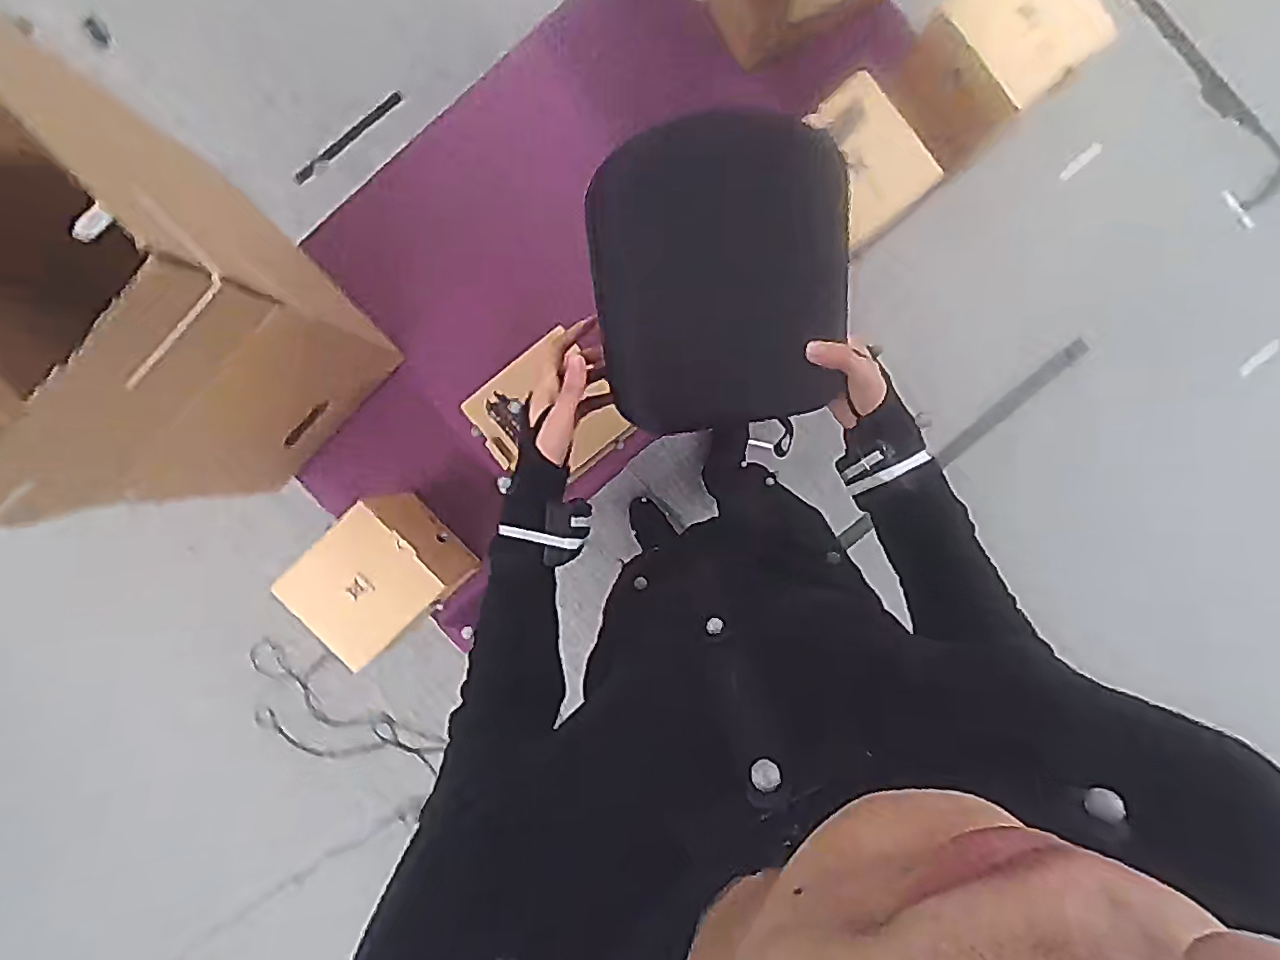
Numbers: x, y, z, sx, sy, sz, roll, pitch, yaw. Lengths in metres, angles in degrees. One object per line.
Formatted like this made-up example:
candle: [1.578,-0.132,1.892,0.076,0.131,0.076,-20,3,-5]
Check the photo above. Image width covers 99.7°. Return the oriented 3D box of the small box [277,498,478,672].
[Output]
small box: [-0.374,0.144,0.808,0.168,0.176,0.179,45,90,-1]

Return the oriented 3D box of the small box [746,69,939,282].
small box: [0.278,-0.424,0.788,0.168,0.176,0.179,-39,92,1]

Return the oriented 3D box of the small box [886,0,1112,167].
small box: [0.497,-0.606,0.780,0.168,0.176,0.179,-38,91,2]
